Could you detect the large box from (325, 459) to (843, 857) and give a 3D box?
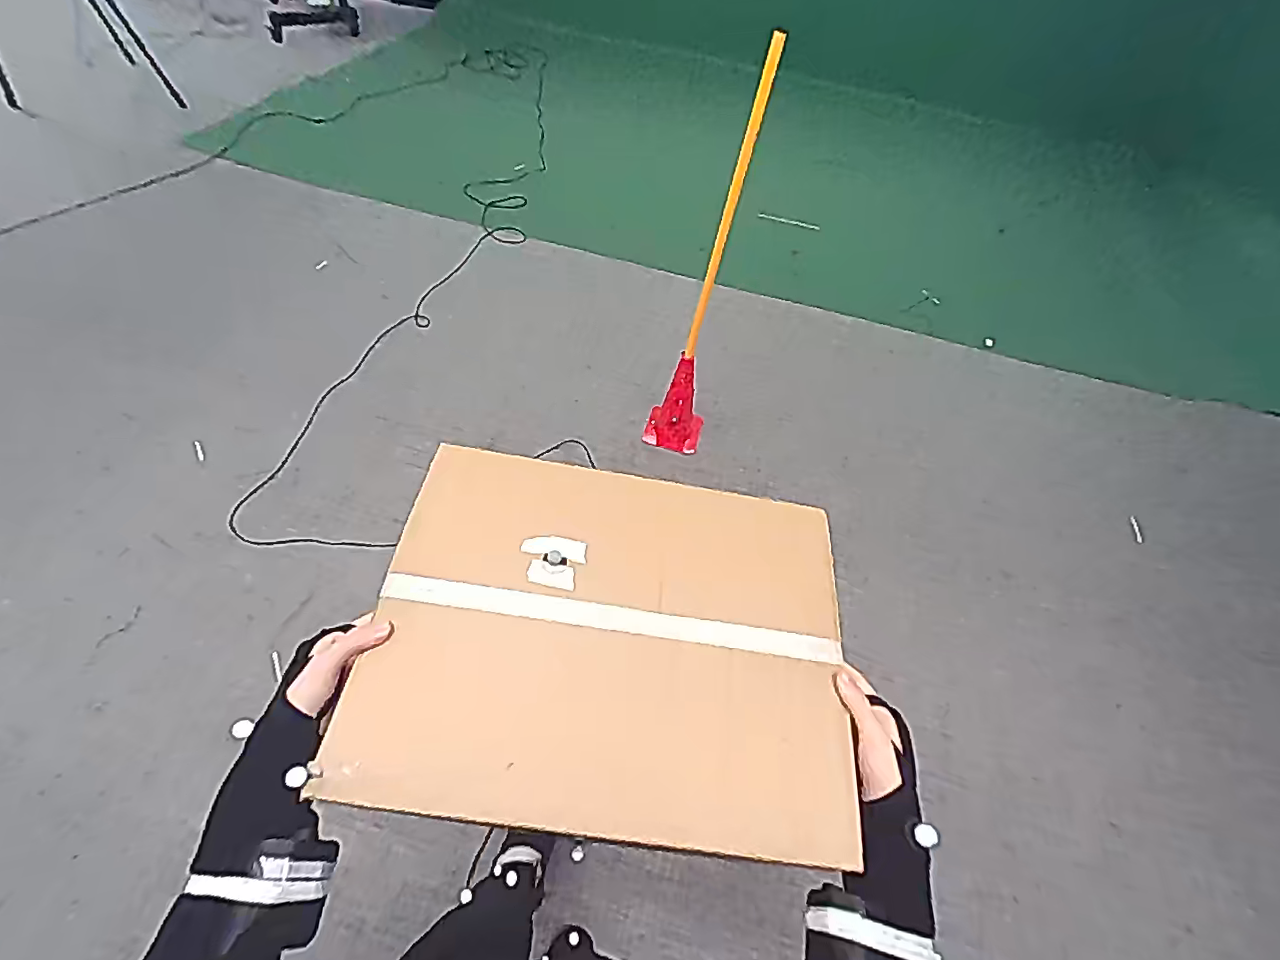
[{"bbox_3d":[-0.039,0.211,0.612,0.408,0.320,0.320,9,56,-2],"label":"large box"}]
